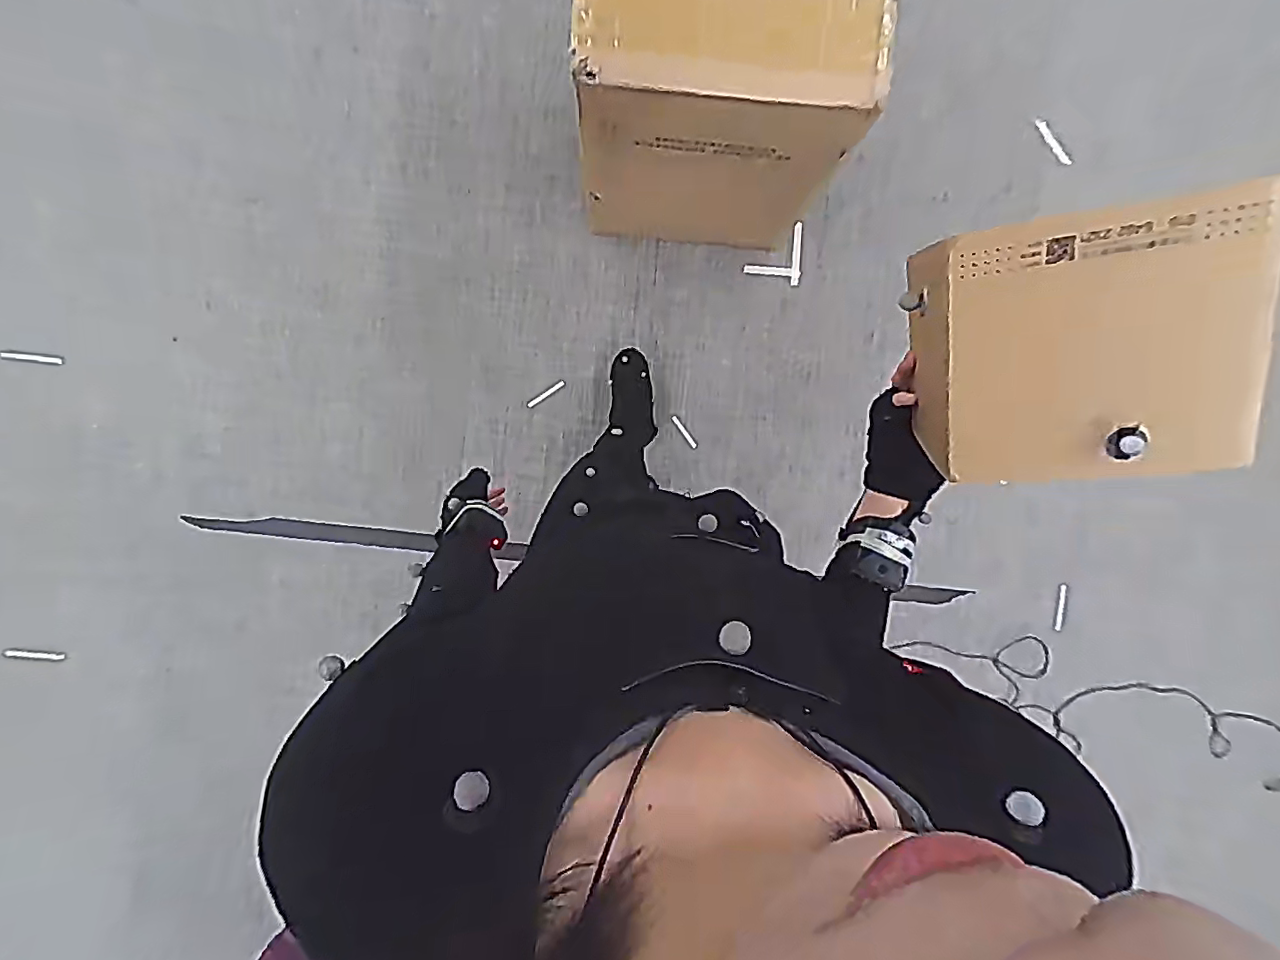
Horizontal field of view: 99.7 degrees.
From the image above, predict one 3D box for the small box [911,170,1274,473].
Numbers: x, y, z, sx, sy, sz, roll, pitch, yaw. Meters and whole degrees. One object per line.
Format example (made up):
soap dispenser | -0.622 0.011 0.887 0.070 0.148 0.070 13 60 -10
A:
small box | 0.307 -0.112 0.407 0.168 0.179 0.176 -4 106 20
